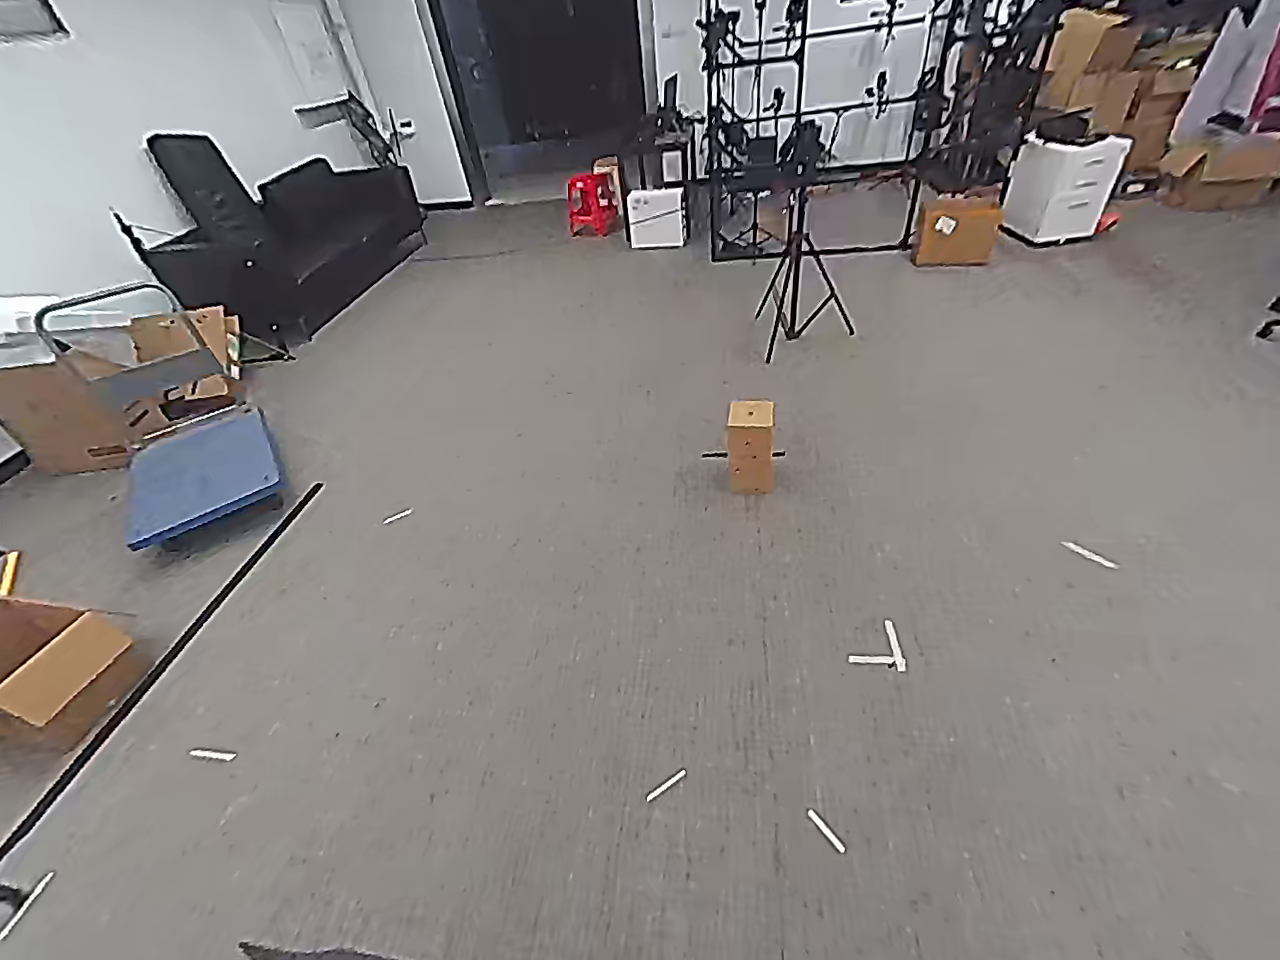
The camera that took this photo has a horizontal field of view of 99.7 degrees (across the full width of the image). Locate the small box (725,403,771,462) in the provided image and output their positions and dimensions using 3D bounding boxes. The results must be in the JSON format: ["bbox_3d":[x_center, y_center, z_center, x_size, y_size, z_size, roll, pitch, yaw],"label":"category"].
[{"bbox_3d":[0.425,-0.184,2.122,0.168,0.176,0.179,3,40,13],"label":"small box"}]
